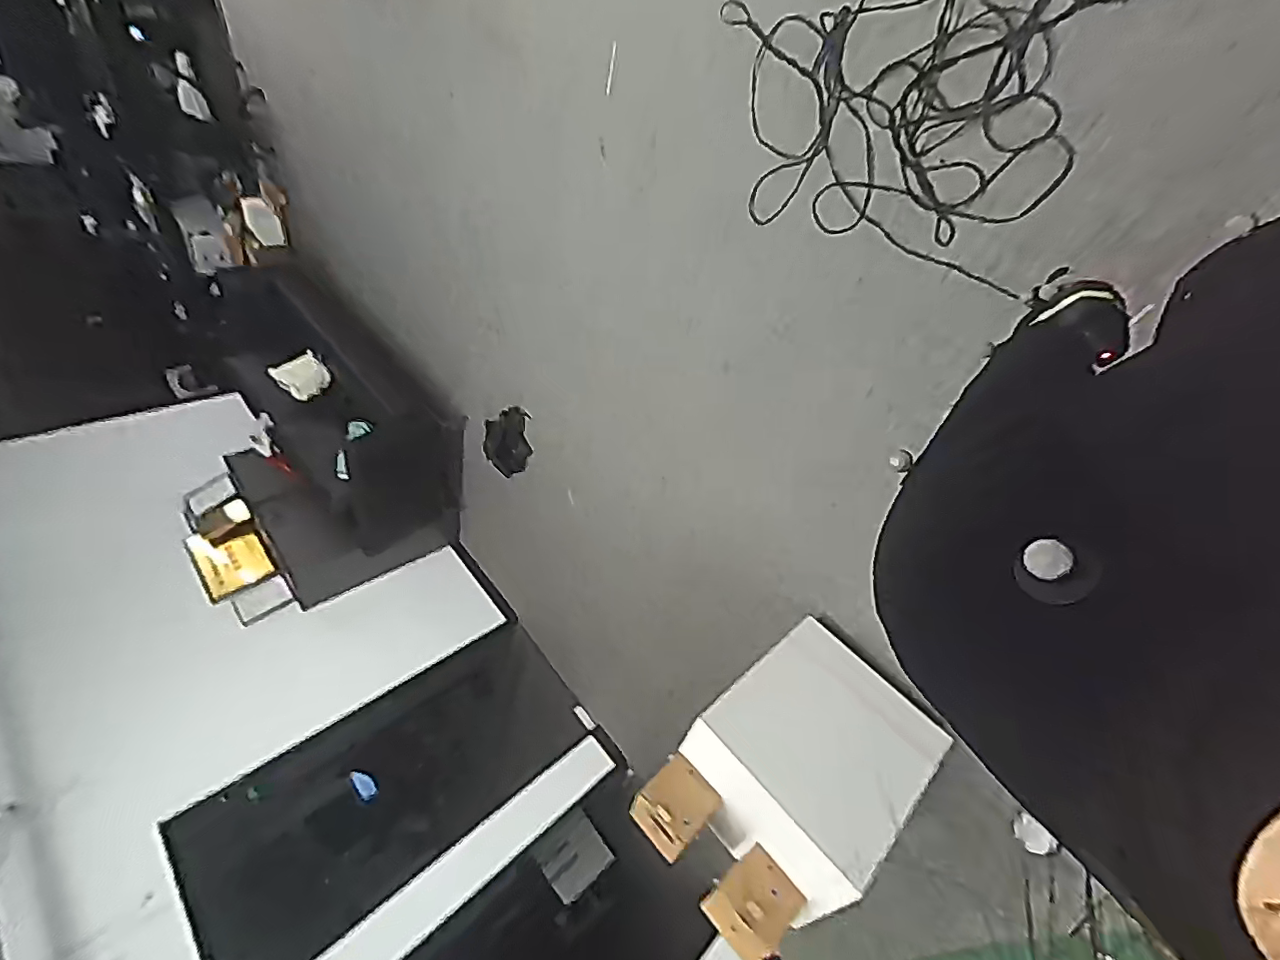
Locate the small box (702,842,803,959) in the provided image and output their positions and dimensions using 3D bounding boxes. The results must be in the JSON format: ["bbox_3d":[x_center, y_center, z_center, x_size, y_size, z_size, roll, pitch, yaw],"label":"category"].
[{"bbox_3d":[0.294,1.097,1.408,0.168,0.176,0.179,42,136,29],"label":"small box"}]
